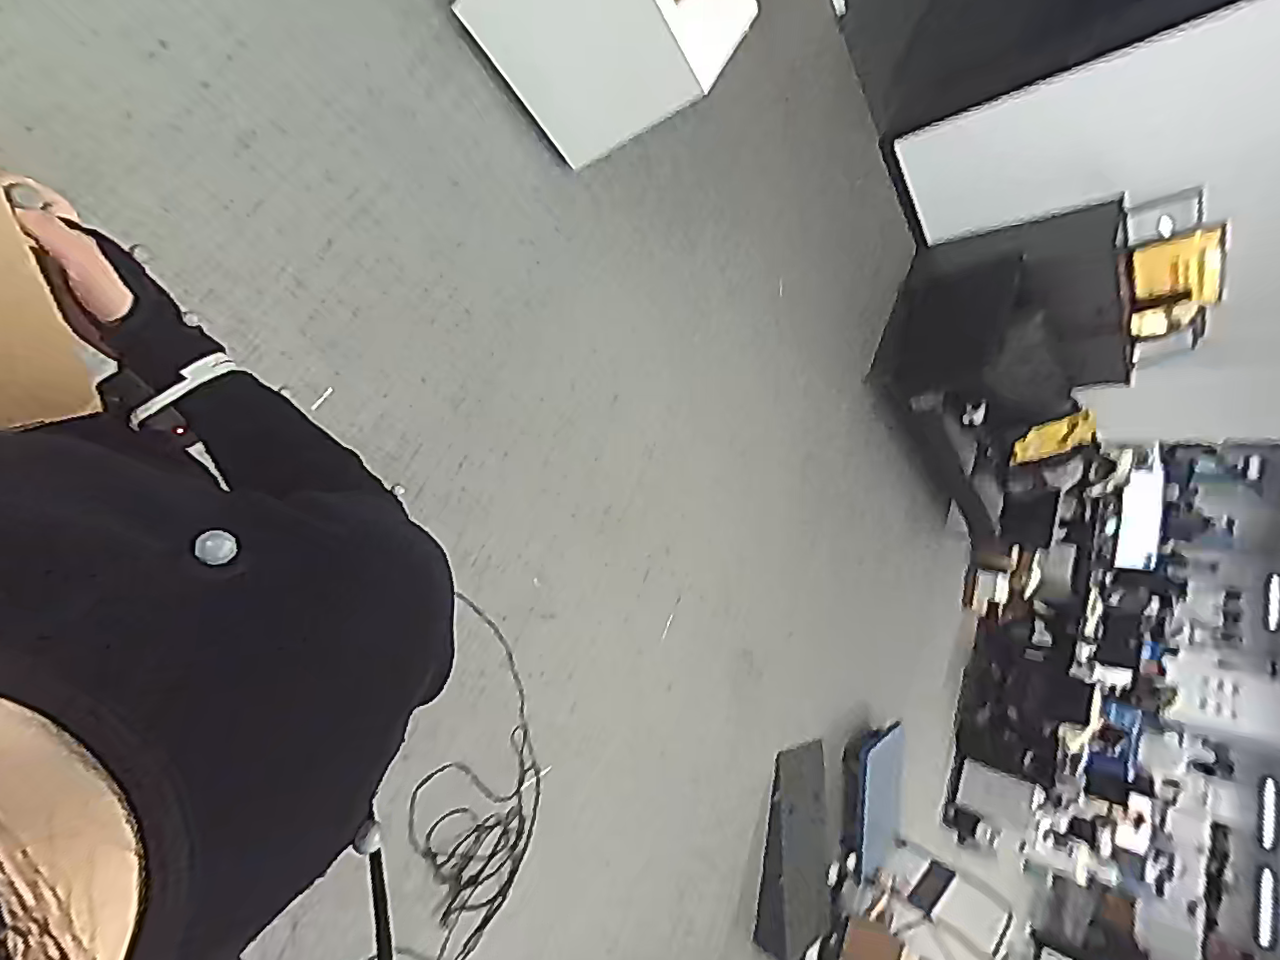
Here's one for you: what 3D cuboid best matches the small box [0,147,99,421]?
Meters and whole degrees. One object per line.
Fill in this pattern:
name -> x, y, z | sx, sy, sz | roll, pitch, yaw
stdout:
small box -> -0.457, -0.135, 0.294 | 0.168, 0.176, 0.179 | -28, 145, -44
